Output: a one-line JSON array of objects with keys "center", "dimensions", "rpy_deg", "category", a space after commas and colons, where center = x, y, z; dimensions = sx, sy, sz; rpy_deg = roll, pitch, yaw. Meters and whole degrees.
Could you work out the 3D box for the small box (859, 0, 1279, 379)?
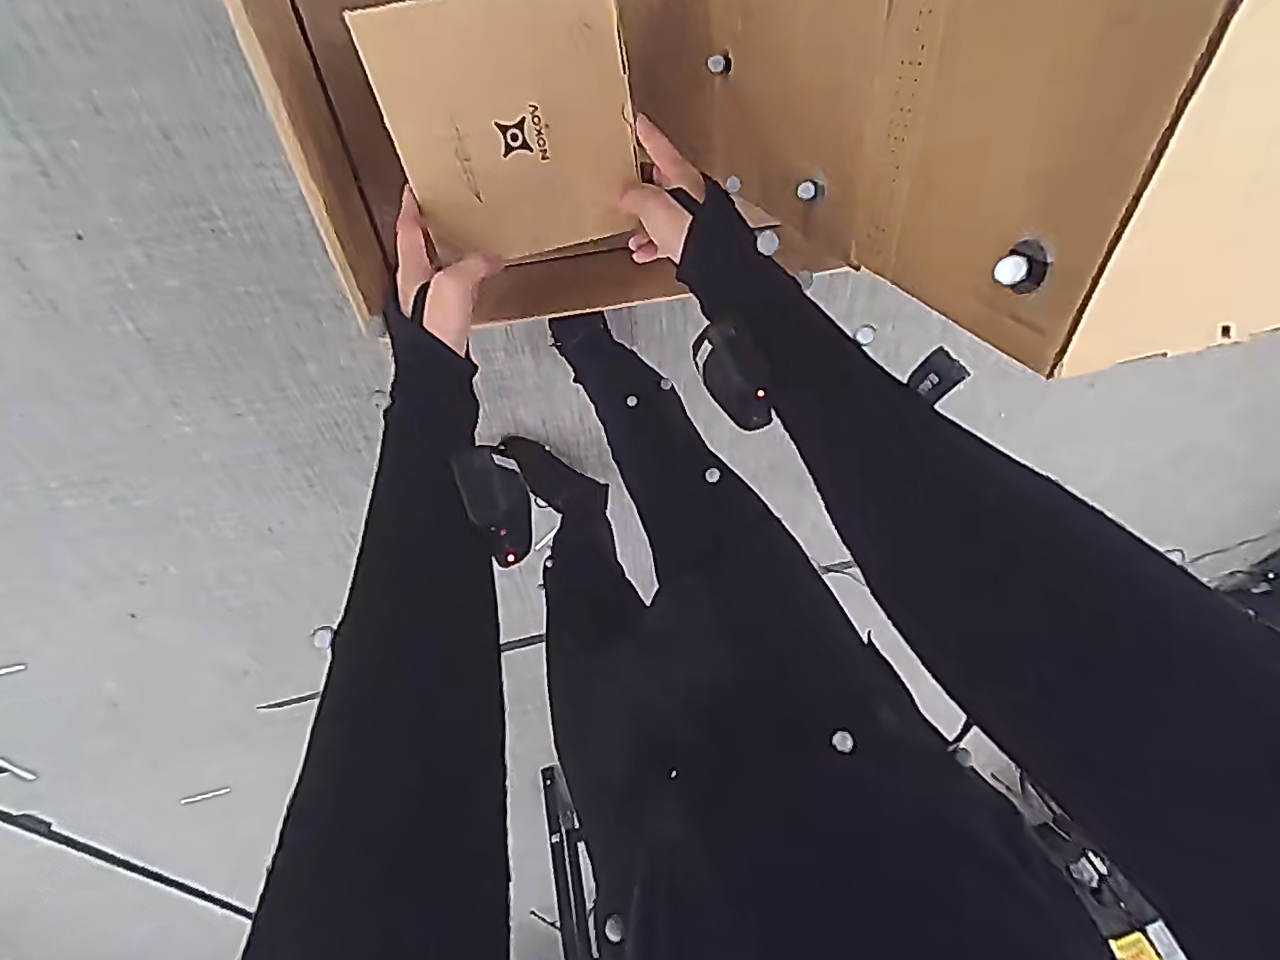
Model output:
[{"center": [0.224, -0.174, 0.241], "dimensions": [0.168, 0.176, 0.179], "rpy_deg": [-13, 132, -7], "category": "small box"}]
